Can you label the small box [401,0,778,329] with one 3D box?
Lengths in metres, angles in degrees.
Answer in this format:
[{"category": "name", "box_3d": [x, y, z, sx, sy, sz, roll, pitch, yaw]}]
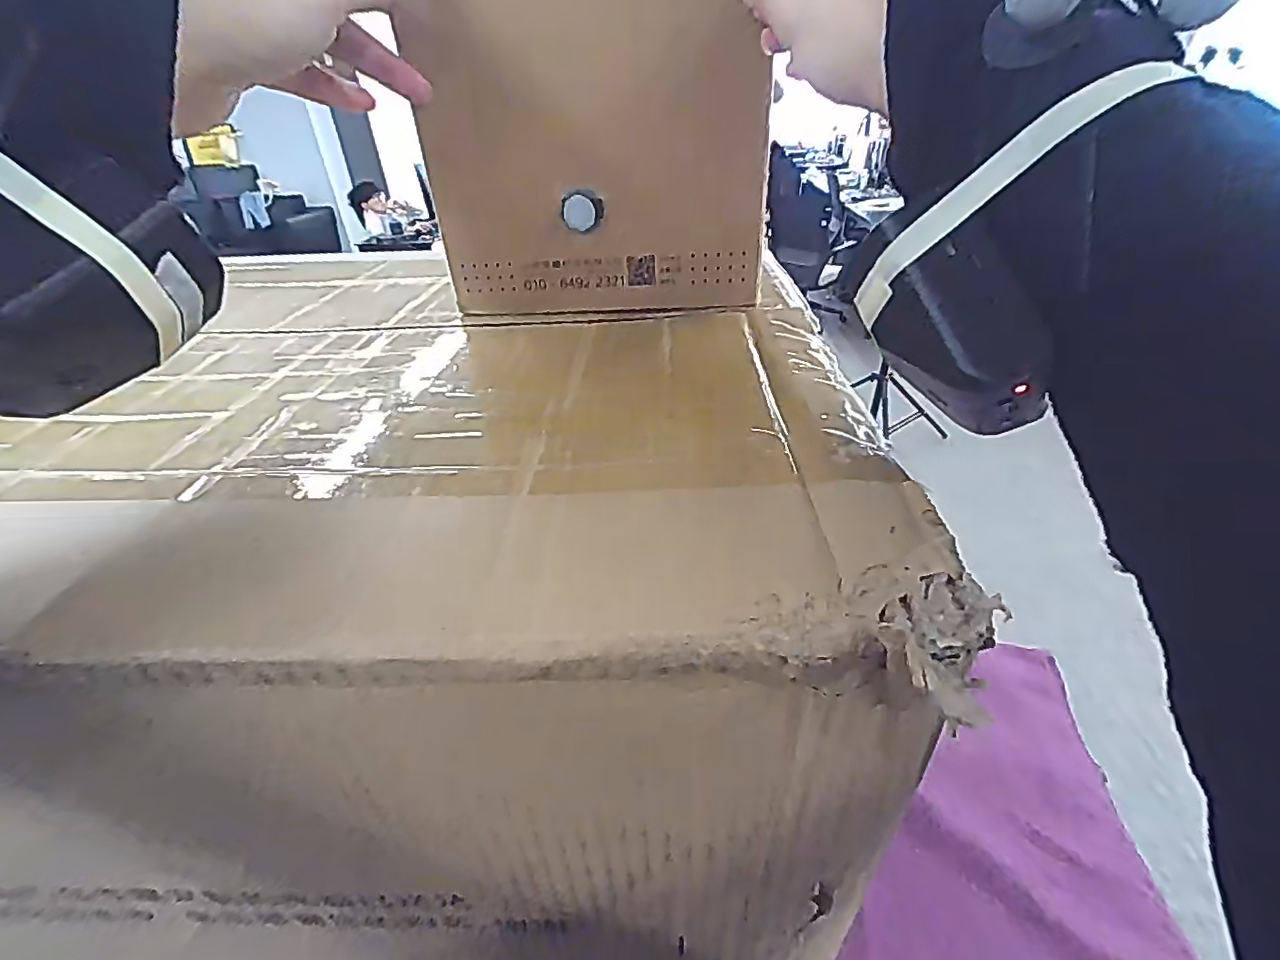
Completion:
[{"category": "small box", "box_3d": [-0.015, -0.199, 0.324, 0.168, 0.176, 0.179, 0, 35, 6]}]
